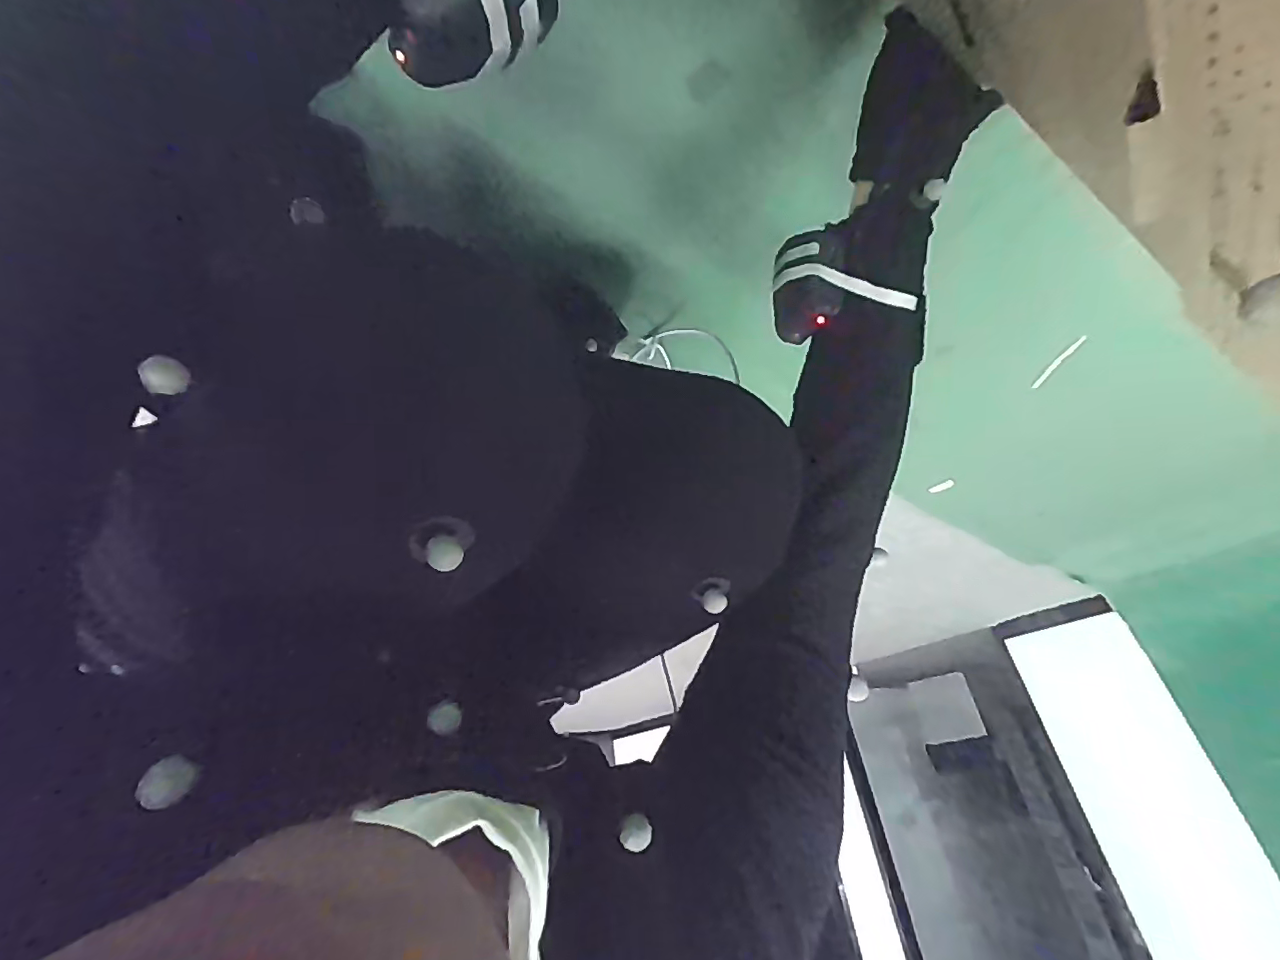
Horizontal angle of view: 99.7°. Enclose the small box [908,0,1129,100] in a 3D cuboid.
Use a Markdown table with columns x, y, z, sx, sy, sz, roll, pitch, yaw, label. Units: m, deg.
| x | y | z | sx | sy | sz | roll | pitch | yaw | label |
| --- | --- | --- | --- | --- | --- | --- | --- | --- | --- |
| 0.183 | -0.332 | 0.233 | 0.168 | 0.176 | 0.179 | 20 | 141 | -40 | small box |
